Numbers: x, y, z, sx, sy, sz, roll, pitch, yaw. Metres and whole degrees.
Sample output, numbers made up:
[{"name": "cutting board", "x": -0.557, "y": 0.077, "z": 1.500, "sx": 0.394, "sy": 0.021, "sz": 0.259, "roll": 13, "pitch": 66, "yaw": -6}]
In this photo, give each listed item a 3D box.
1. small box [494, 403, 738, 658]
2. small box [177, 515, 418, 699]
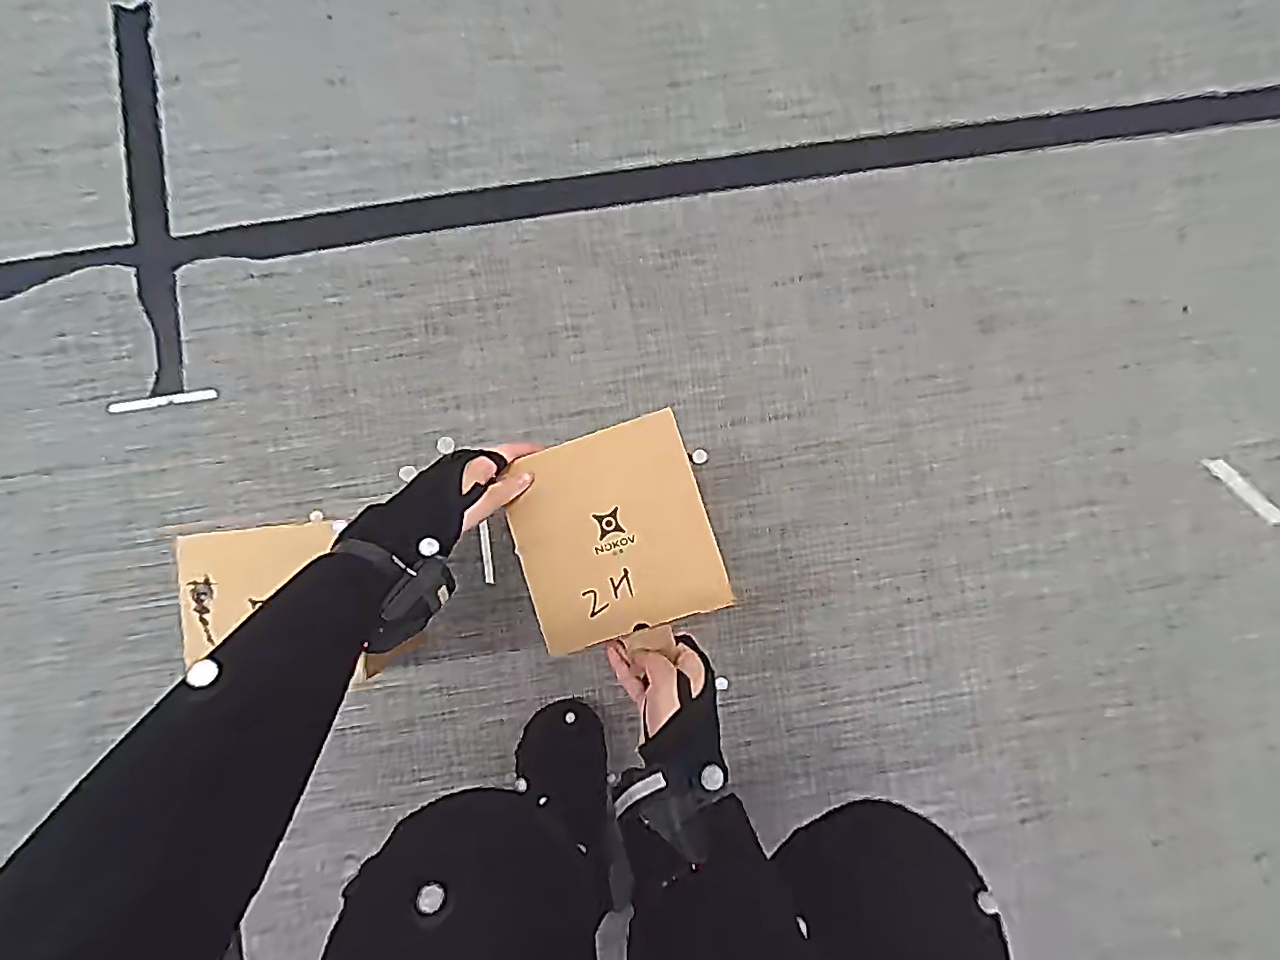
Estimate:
[{"name": "small box", "x": -0.015, "y": 0.046, "z": 0.522, "sx": 0.168, "sy": 0.176, "sz": 0.179, "roll": -18, "pitch": 85, "yaw": 6}, {"name": "small box", "x": -0.364, "y": 0.128, "z": 0.611, "sx": 0.179, "sy": 0.176, "sz": 0.168, "roll": -5, "pitch": 88, "yaw": -2}]
